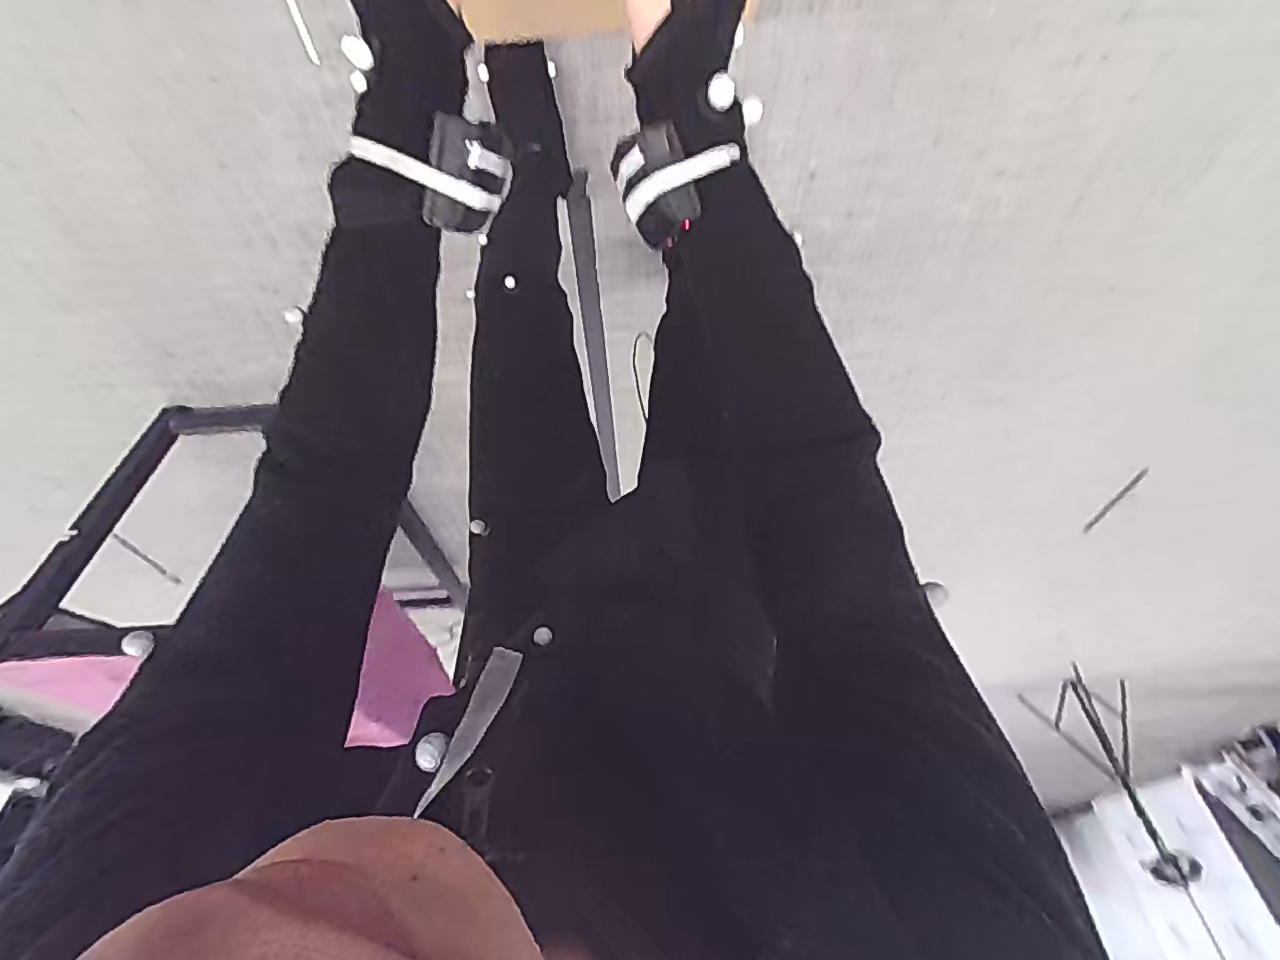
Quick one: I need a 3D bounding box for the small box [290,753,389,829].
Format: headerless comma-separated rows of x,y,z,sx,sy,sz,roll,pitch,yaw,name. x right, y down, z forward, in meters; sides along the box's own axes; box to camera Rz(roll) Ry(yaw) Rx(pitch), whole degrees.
-0.882,0.923,1.606,0.179,0.176,0.168,-6,140,4,small box
